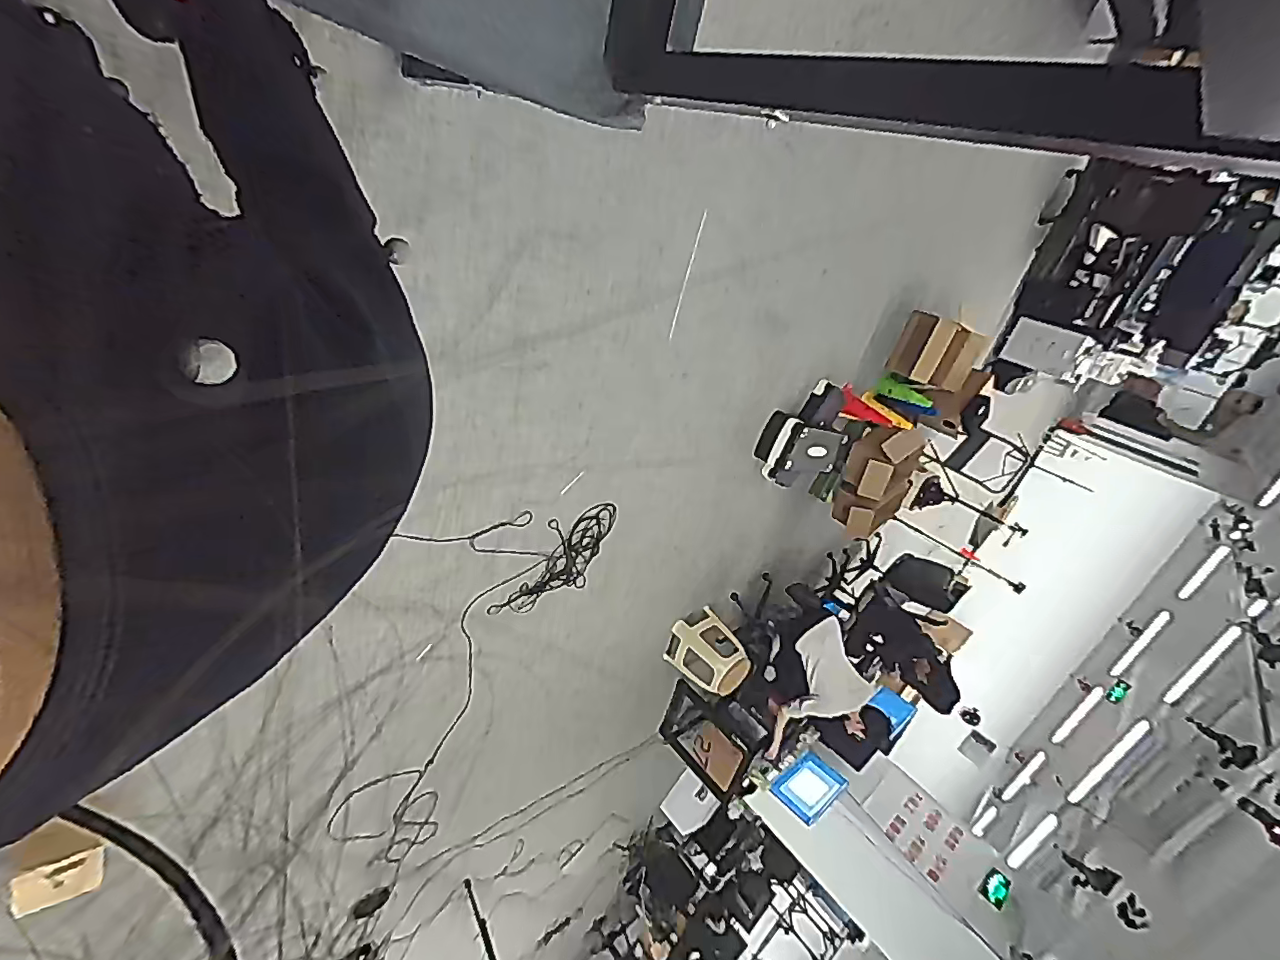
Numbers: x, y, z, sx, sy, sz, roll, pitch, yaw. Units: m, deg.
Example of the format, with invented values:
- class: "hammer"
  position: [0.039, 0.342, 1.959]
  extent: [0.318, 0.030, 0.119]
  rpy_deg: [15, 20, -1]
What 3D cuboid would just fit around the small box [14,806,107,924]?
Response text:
- class: "small box"
  position: [-1.561, 1.020, 1.455]
  extent: [0.168, 0.176, 0.179]
  rpy_deg: [0, 119, -47]
